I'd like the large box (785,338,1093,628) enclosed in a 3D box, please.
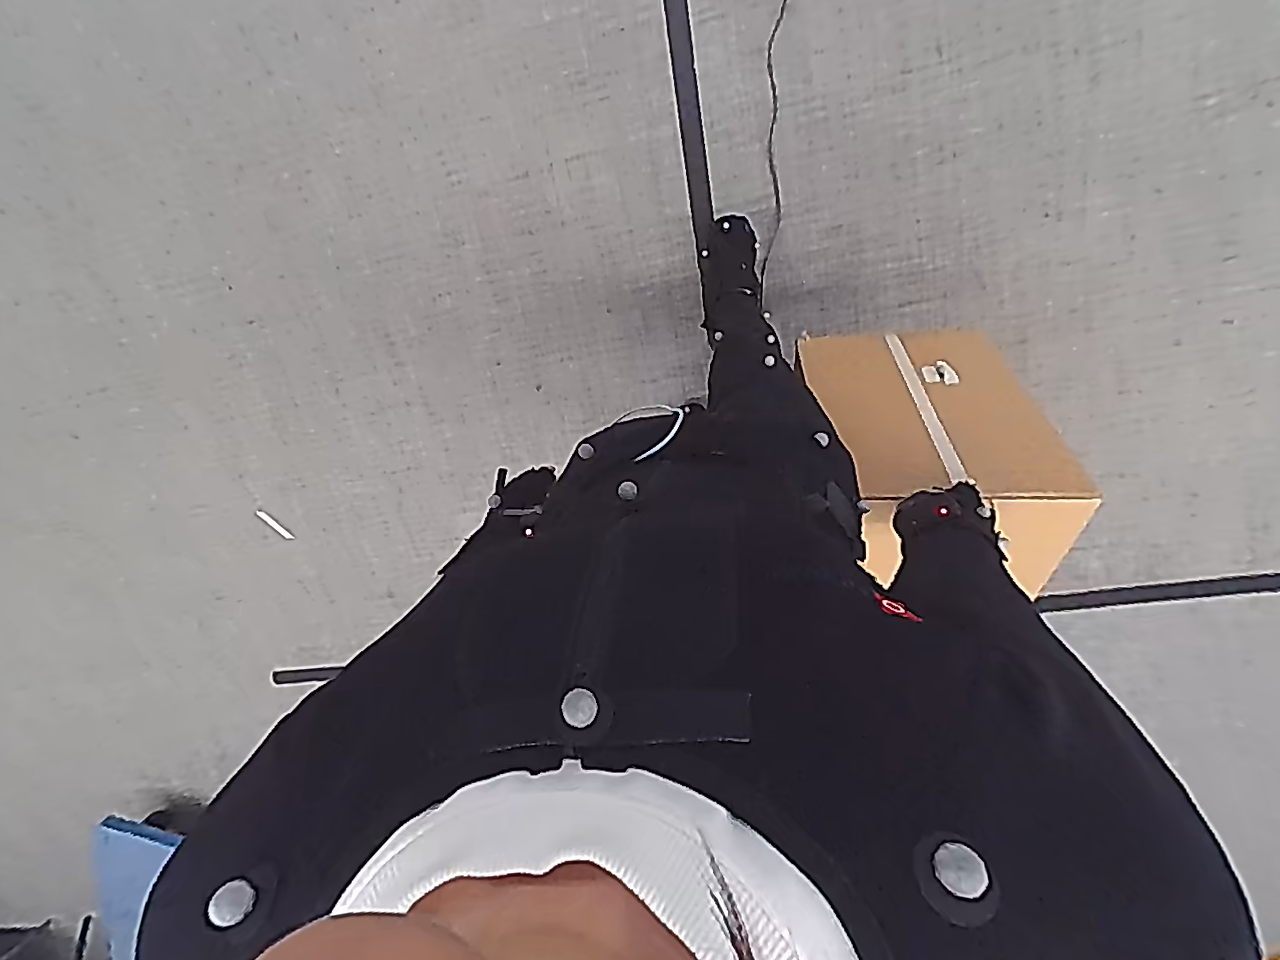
[{"bbox_3d":[0.434,-0.002,0.918,0.320,0.408,0.320,0,132,7],"label":"large box"}]
